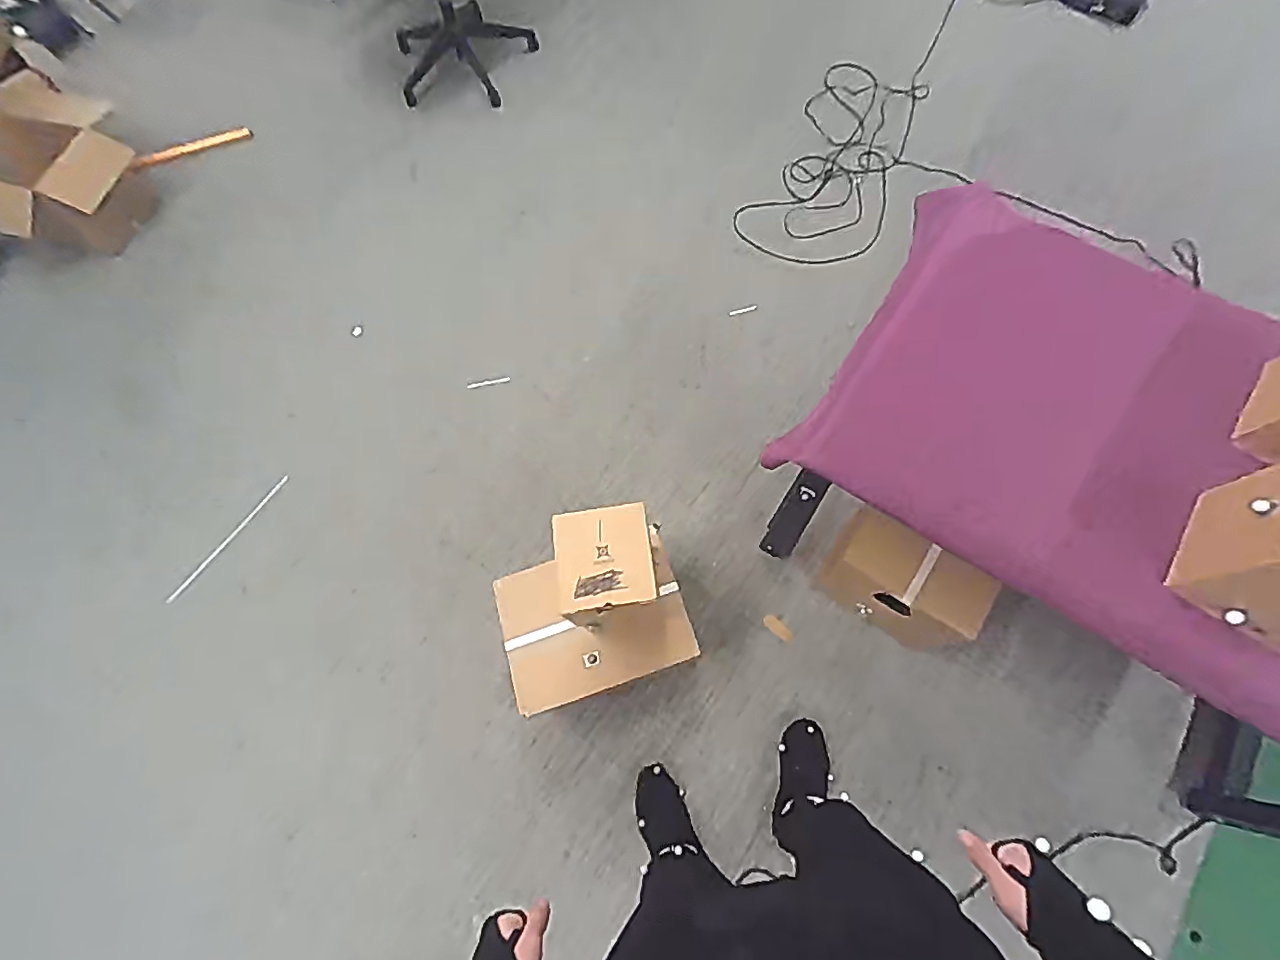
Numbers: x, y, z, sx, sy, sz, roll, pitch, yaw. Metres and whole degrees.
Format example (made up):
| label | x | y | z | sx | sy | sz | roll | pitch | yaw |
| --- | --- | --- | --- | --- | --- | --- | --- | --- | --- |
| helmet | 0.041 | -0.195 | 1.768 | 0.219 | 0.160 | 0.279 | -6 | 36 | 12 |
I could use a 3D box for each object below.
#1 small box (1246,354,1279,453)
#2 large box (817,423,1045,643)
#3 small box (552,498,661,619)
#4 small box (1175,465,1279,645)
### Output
| label | x | y | z | sx | sy | sz | roll | pitch | yaw |
| --- | --- | --- | --- | --- | --- | --- | --- | --- | --- |
| small box | 1.003 | -0.119 | 0.730 | 0.168 | 0.176 | 0.179 | 35 | 77 | 15 |
| large box | 0.704 | 0.146 | 1.362 | 0.320 | 0.320 | 0.408 | 33 | 74 | 14 |
| small box | -0.056 | 0.151 | 0.980 | 0.168 | 0.176 | 0.179 | -9 | 68 | 1 |
| small box | 0.832 | 0.087 | 0.666 | 0.168 | 0.176 | 0.179 | 34 | 75 | 16 |
